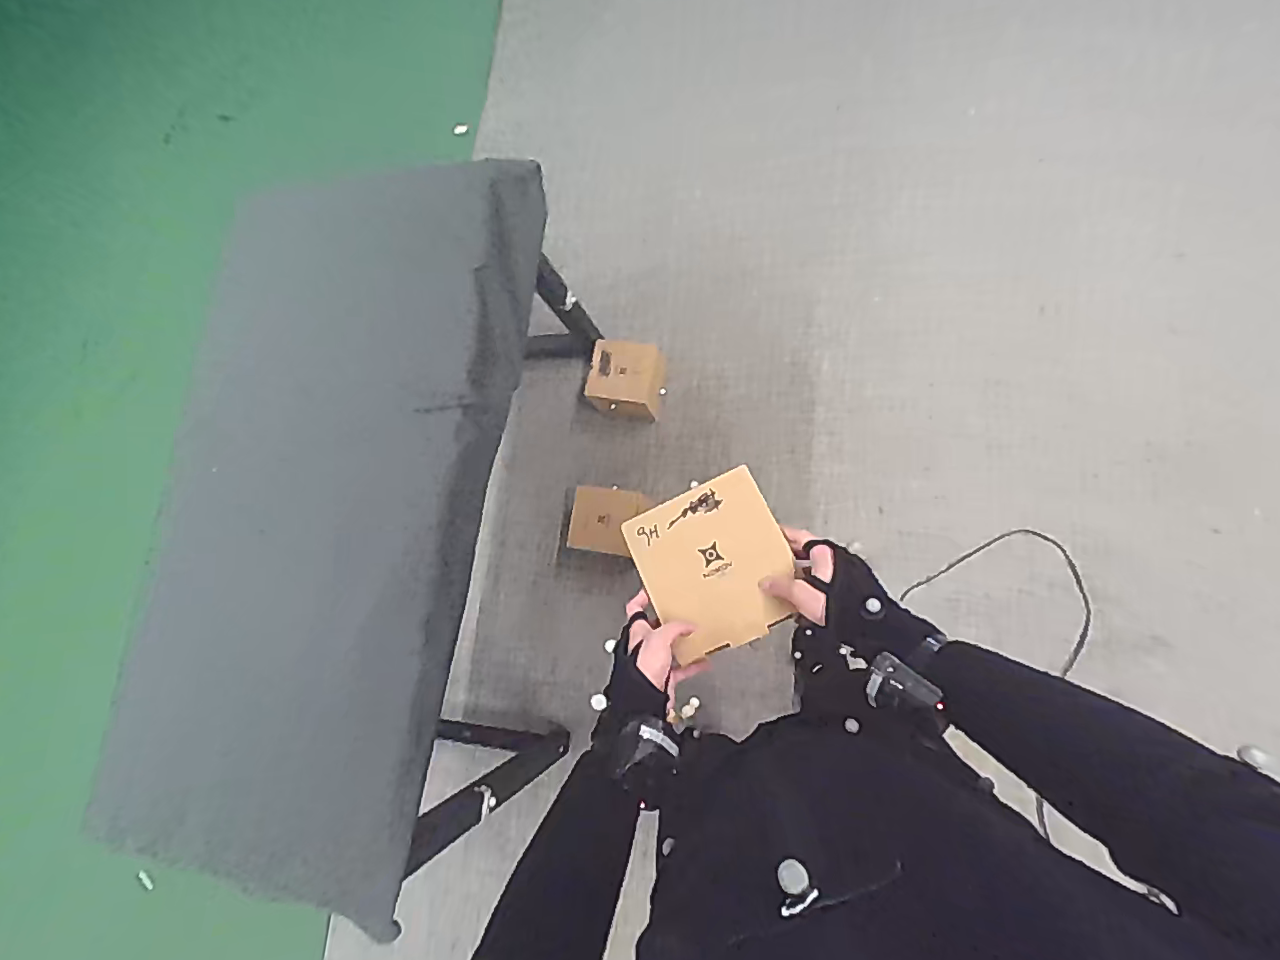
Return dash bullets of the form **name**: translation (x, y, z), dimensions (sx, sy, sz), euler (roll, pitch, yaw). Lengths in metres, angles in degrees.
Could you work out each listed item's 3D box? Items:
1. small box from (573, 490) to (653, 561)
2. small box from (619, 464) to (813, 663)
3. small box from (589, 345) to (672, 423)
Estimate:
- **small box**: translation (-0.059, 0.128, 1.461), dimensions (0.179, 0.176, 0.168), euler (4, 79, 18)
- **small box**: translation (0.099, 0.107, 0.674), dimensions (0.168, 0.176, 0.179), euler (-26, 71, 7)
- **small box**: translation (-0.020, -0.267, 1.529), dimensions (0.179, 0.176, 0.168), euler (9, 81, 17)
